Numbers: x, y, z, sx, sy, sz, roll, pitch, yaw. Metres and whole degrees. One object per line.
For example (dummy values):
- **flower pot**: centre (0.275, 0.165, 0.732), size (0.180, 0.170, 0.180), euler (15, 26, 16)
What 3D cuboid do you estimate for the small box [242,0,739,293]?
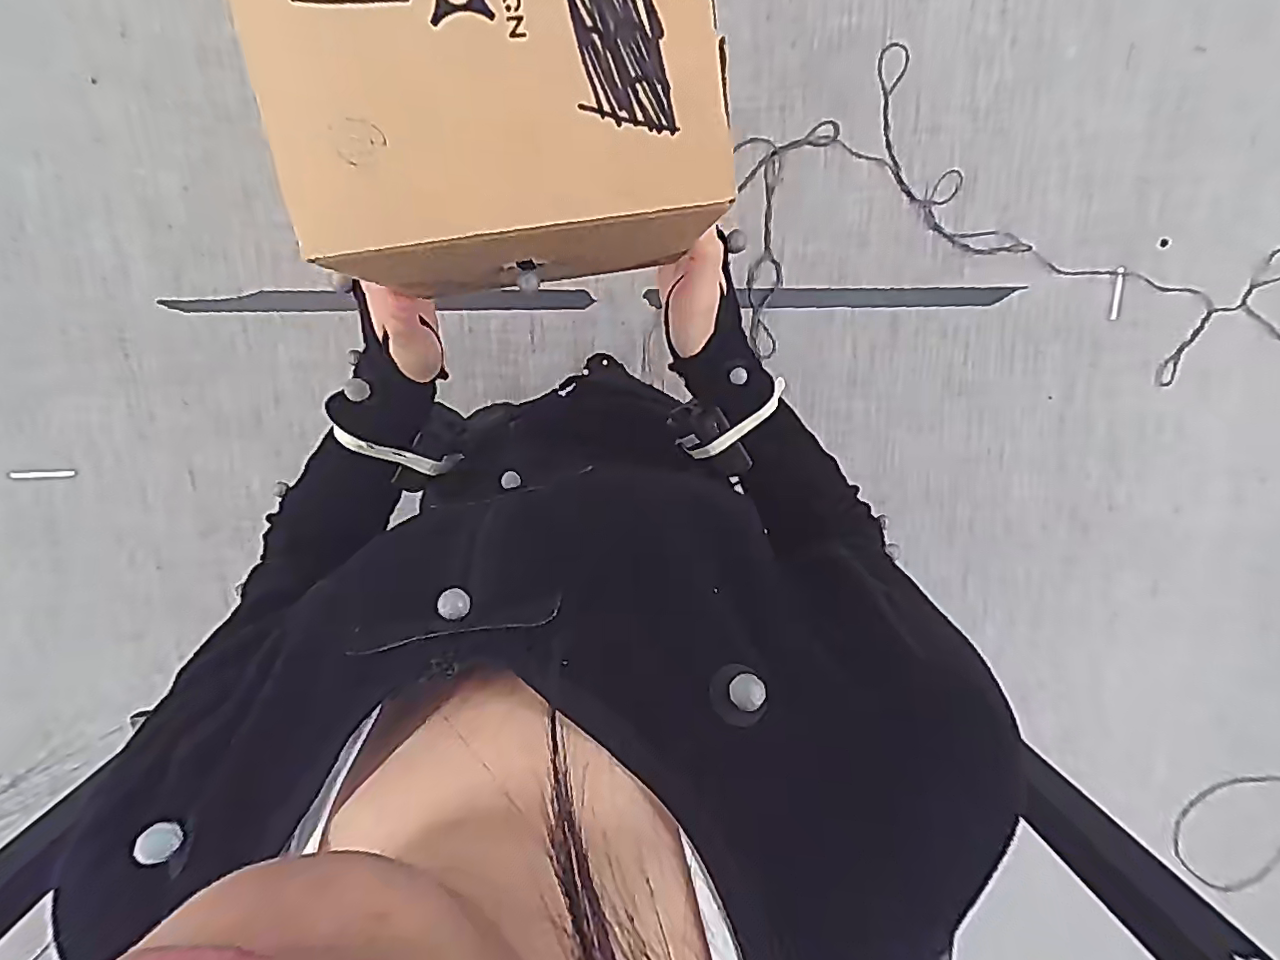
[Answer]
- **small box**: centre (-0.063, -0.197, 0.274), size (0.179, 0.176, 0.168), euler (-9, 104, -3)
